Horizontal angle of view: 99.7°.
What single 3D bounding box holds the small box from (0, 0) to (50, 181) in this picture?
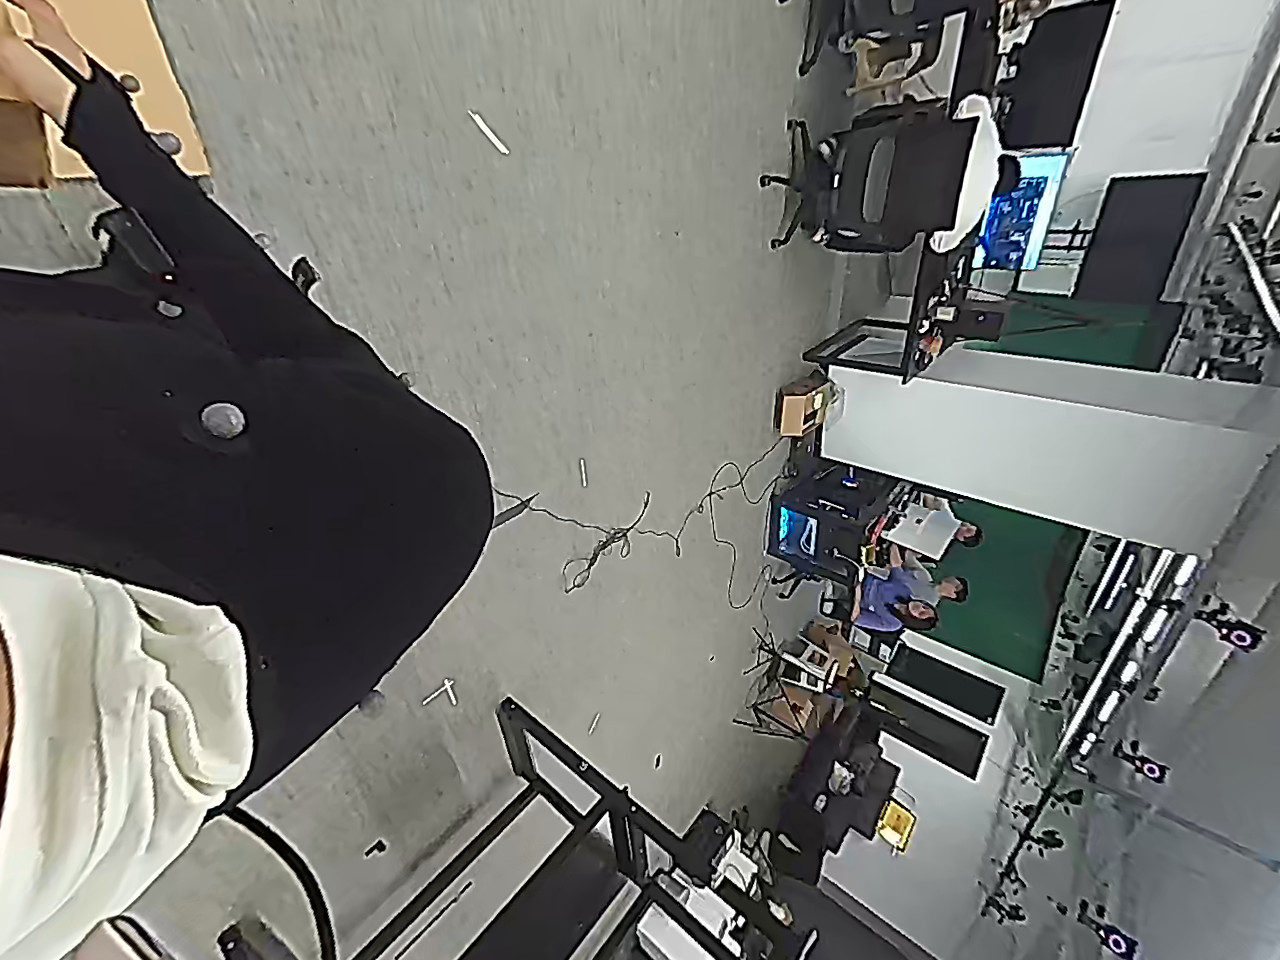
[{"bbox_3d":[-0.616,-0.355,0.424,0.179,0.176,0.168,-24,105,-42],"label":"small box"}]
